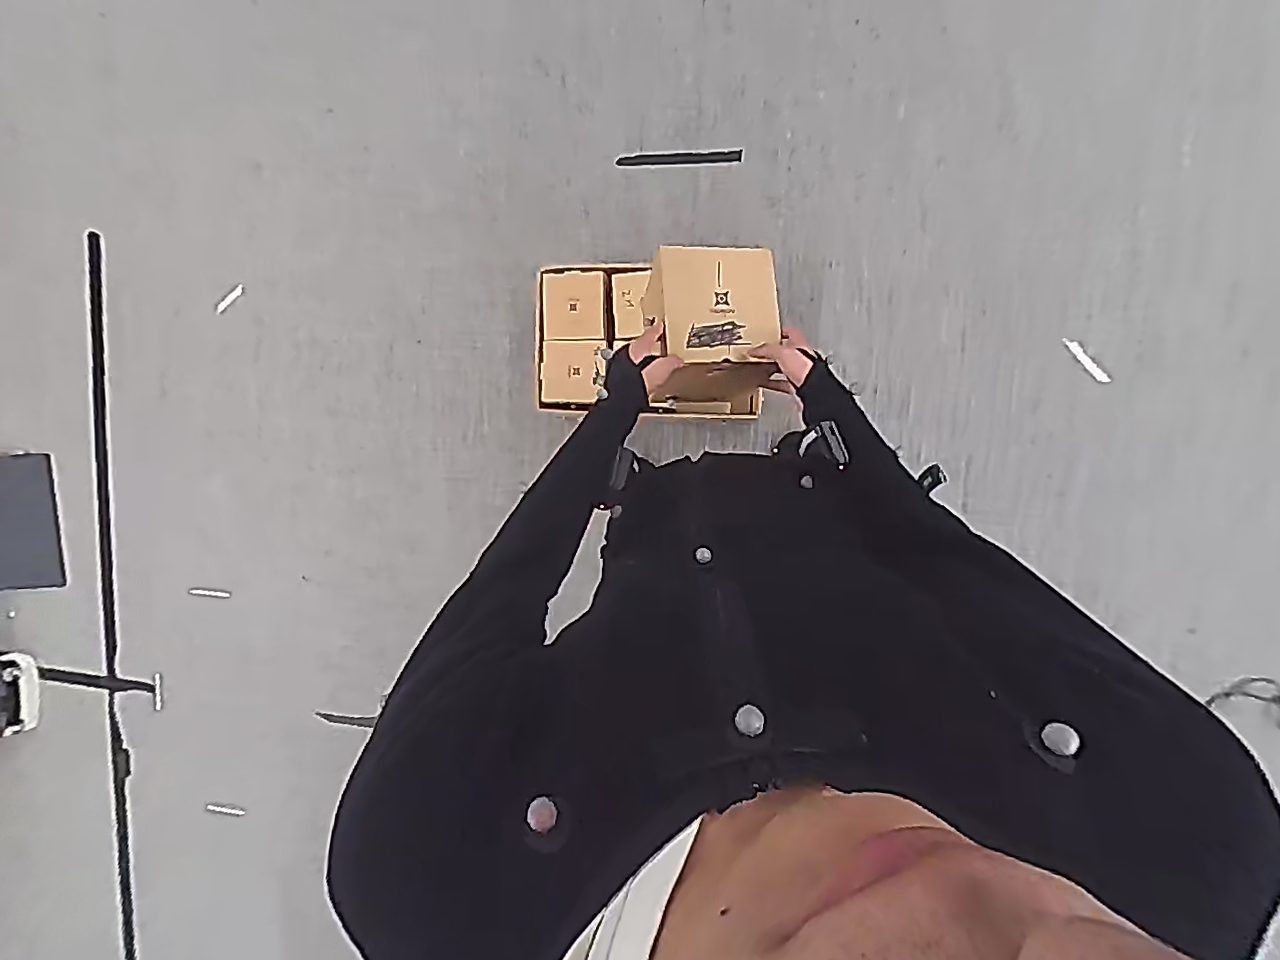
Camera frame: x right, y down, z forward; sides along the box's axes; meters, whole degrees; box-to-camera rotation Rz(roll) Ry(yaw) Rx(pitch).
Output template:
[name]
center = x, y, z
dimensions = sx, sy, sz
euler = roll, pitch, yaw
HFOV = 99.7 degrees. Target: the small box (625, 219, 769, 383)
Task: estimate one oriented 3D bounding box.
[small box]
center = 0.073, -0.251, 0.796
dimensions = 0.168, 0.176, 0.179
euler = -8, 82, -8
